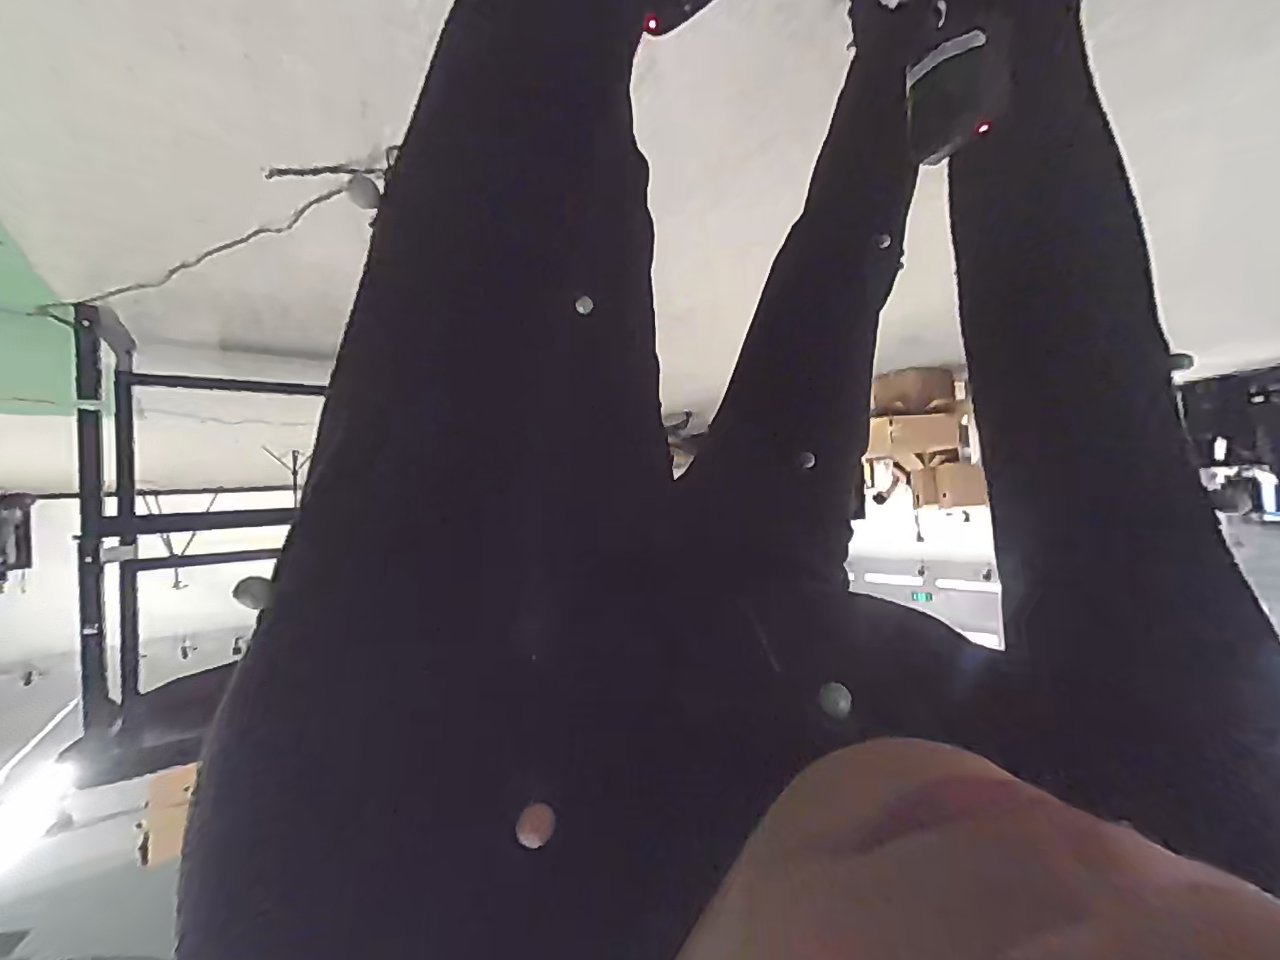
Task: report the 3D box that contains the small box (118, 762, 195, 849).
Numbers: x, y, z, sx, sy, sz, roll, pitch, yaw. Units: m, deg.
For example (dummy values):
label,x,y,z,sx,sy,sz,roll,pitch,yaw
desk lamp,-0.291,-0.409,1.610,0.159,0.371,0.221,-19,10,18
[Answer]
label,x,y,z,sx,sy,sz,roll,pitch,yaw
small box,-1.620,1.081,1.814,0.179,0.176,0.168,-4,-179,-33

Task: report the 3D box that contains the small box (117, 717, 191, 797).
label,x,y,z,sx,sy,sz,roll,pitch,yaw
small box,-1.628,0.917,1.815,0.179,0.176,0.168,-2,180,-40
